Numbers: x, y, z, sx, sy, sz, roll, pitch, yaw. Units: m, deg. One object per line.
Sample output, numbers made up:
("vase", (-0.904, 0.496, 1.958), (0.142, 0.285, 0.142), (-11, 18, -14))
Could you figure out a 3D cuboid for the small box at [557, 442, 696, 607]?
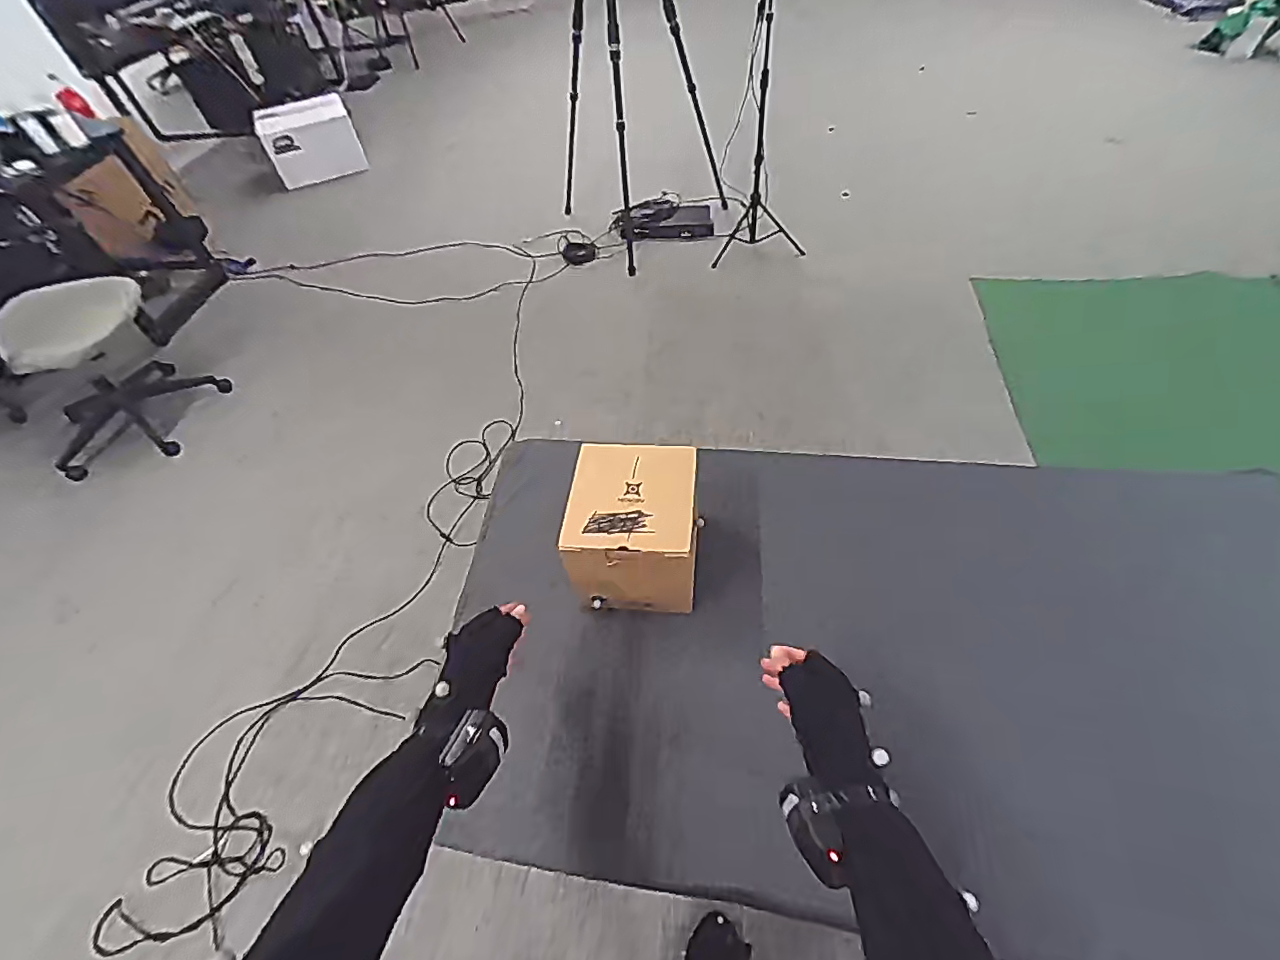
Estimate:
("small box", (-0.007, 0.066, 0.771), (0.168, 0.176, 0.179), (2, 52, 7))
